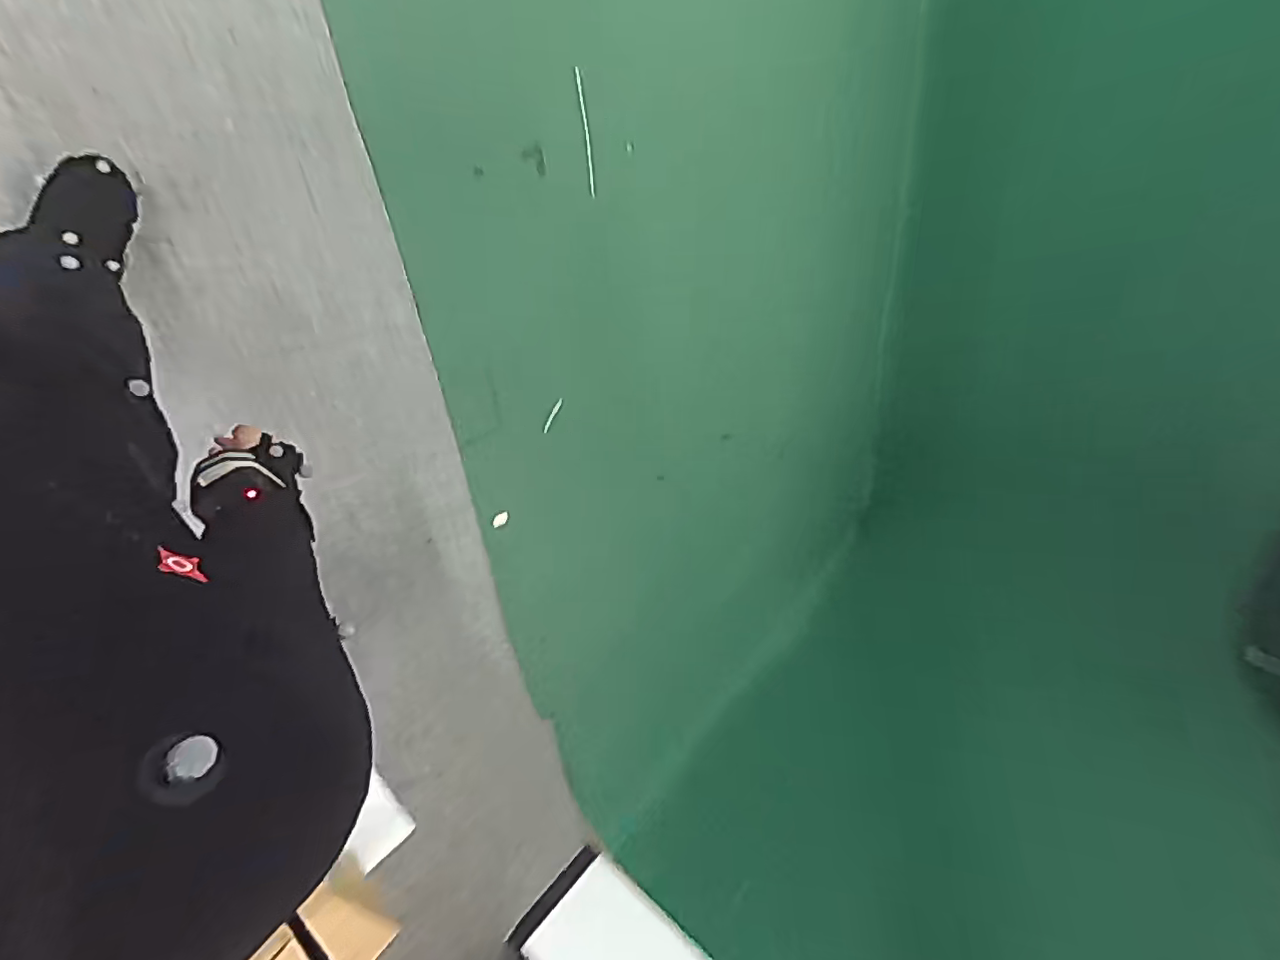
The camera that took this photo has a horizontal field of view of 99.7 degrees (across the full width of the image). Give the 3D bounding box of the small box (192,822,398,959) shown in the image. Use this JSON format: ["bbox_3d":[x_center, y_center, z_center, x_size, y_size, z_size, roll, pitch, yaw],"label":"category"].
[{"bbox_3d":[-0.502,0.645,0.790,0.168,0.176,0.179,-42,134,-28],"label":"small box"}]
